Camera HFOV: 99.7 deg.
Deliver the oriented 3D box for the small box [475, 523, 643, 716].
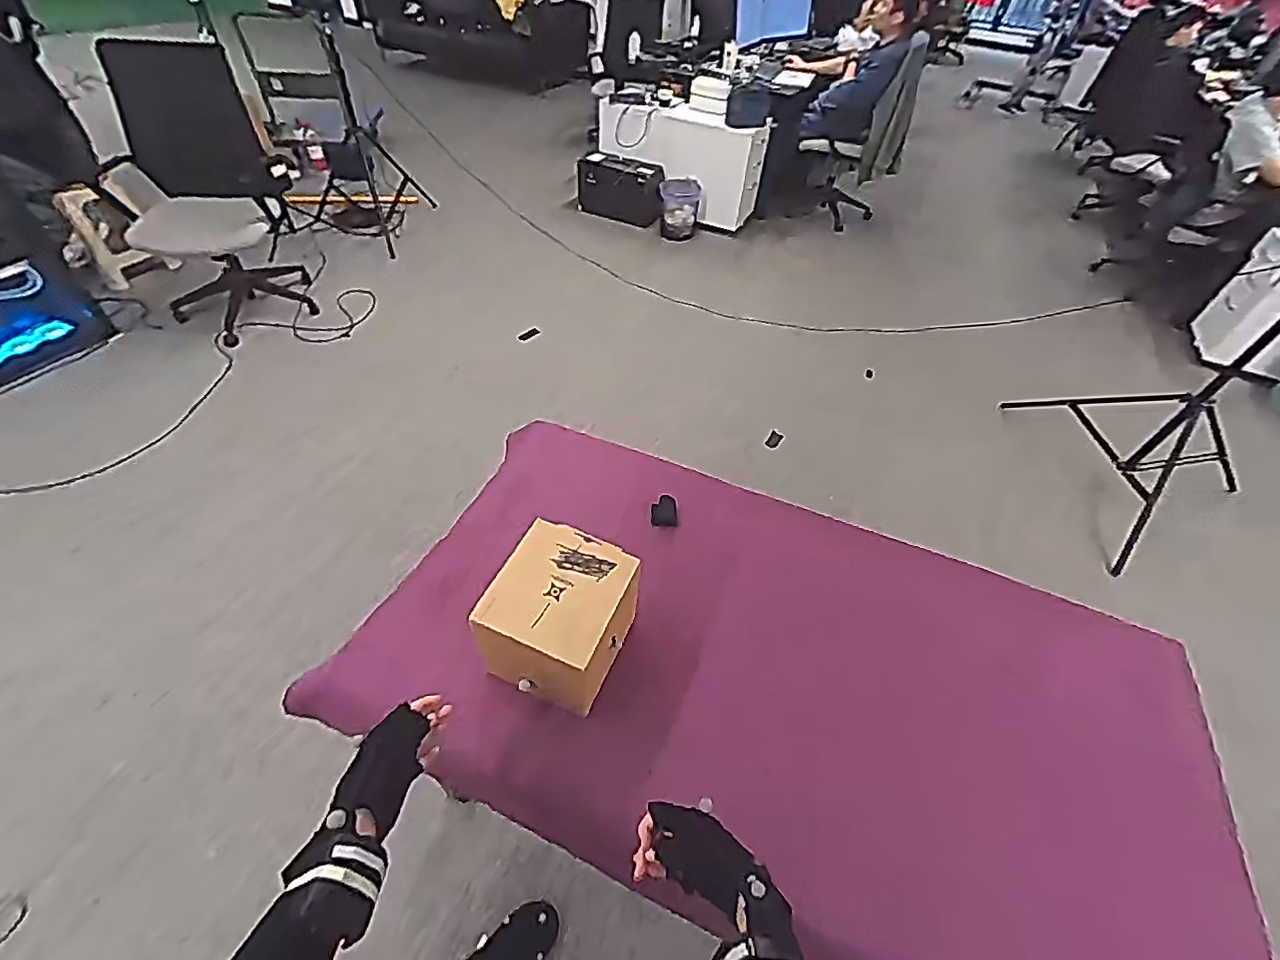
[{"bbox_3d":[-0.109,0.199,0.771,0.168,0.176,0.179,19,50,13],"label":"small box"}]
